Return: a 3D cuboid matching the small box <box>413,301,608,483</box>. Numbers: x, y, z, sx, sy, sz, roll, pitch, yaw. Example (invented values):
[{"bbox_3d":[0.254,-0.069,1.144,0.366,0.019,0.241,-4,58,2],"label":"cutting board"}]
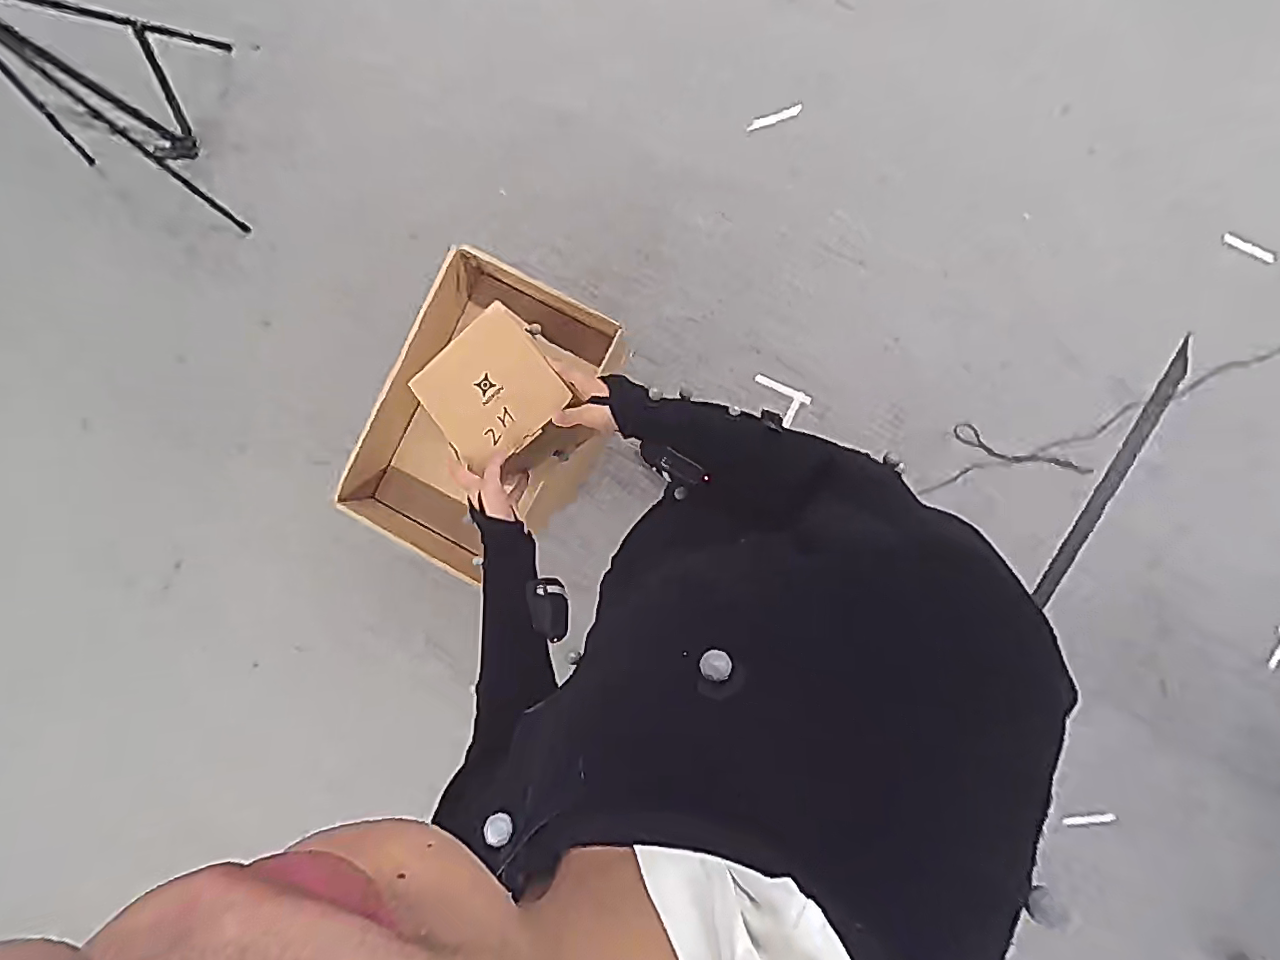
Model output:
[{"bbox_3d":[-0.172,-0.110,0.766,0.168,0.176,0.179,-40,80,7],"label":"small box"}]
